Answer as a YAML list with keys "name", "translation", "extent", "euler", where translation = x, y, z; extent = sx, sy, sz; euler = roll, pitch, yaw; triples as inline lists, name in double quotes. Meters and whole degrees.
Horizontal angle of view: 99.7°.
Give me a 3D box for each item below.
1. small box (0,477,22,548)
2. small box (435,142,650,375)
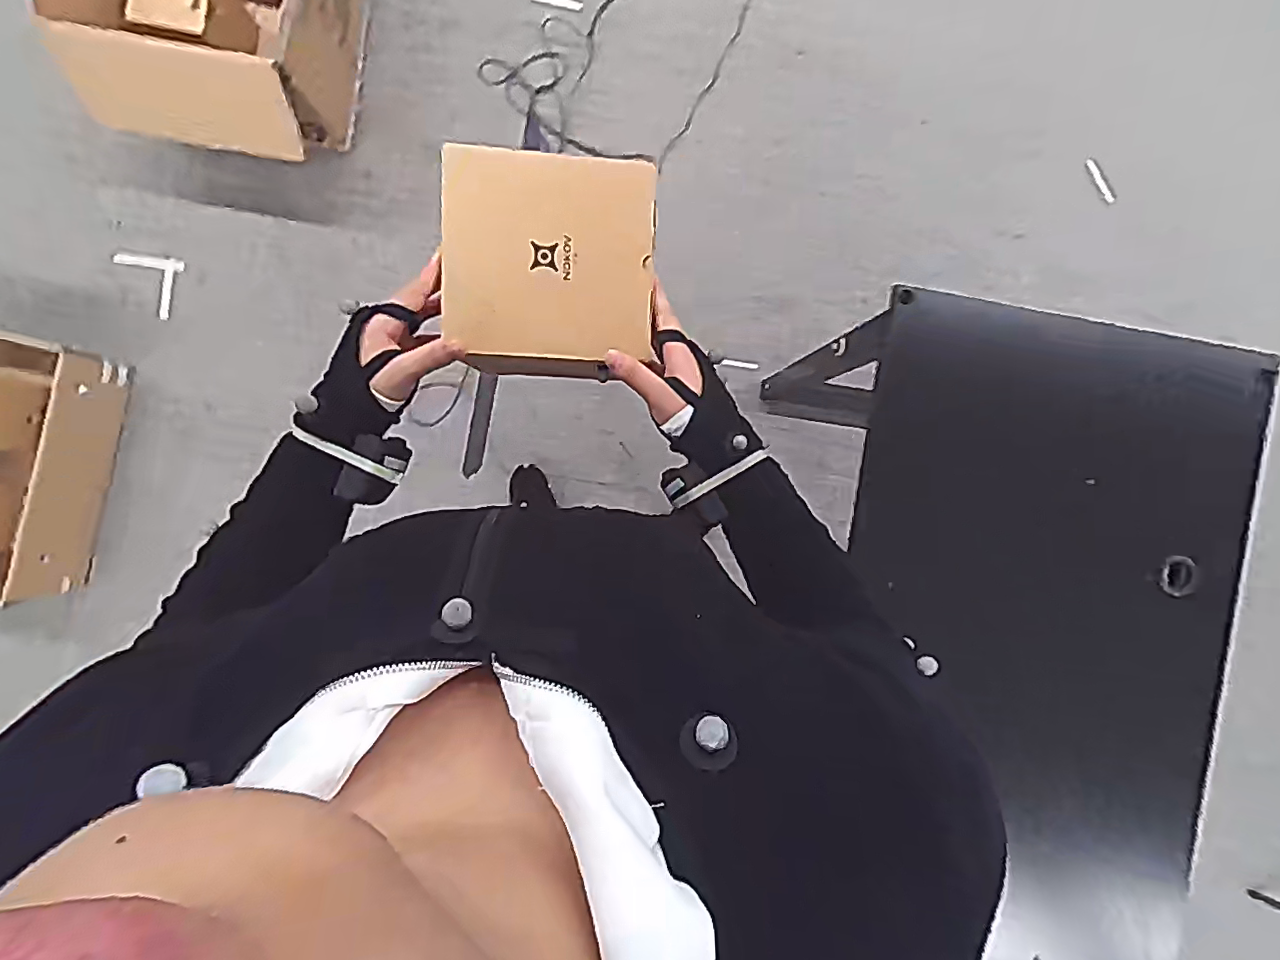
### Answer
- name: "small box"
  translation: [-1.641, 0.072, 1.275]
  extent: [0.168, 0.176, 0.179]
  euler: [14, 89, -6]
- name: "small box"
  translation: [-0.090, -0.196, 0.530]
  extent: [0.179, 0.176, 0.168]
  euler: [1, 95, -7]
